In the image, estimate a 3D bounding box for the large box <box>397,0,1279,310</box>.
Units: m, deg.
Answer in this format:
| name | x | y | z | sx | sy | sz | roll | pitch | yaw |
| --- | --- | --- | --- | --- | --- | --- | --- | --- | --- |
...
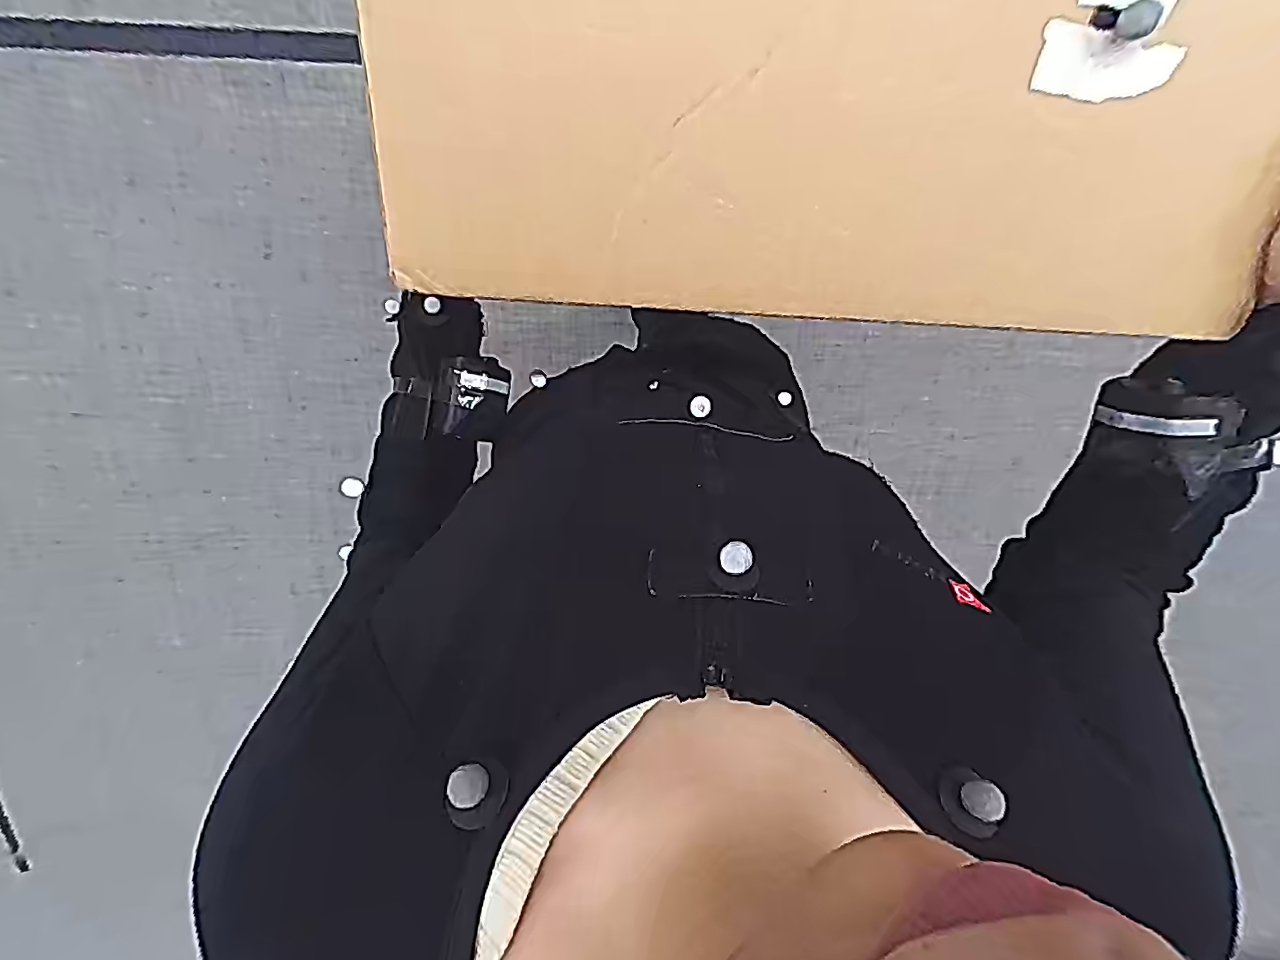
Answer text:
| name | x | y | z | sx | sy | sz | roll | pitch | yaw |
| --- | --- | --- | --- | --- | --- | --- | --- | --- | --- |
| large box | 0.092 | -0.290 | 0.315 | 0.408 | 0.320 | 0.320 | 0 | 118 | -10 |
